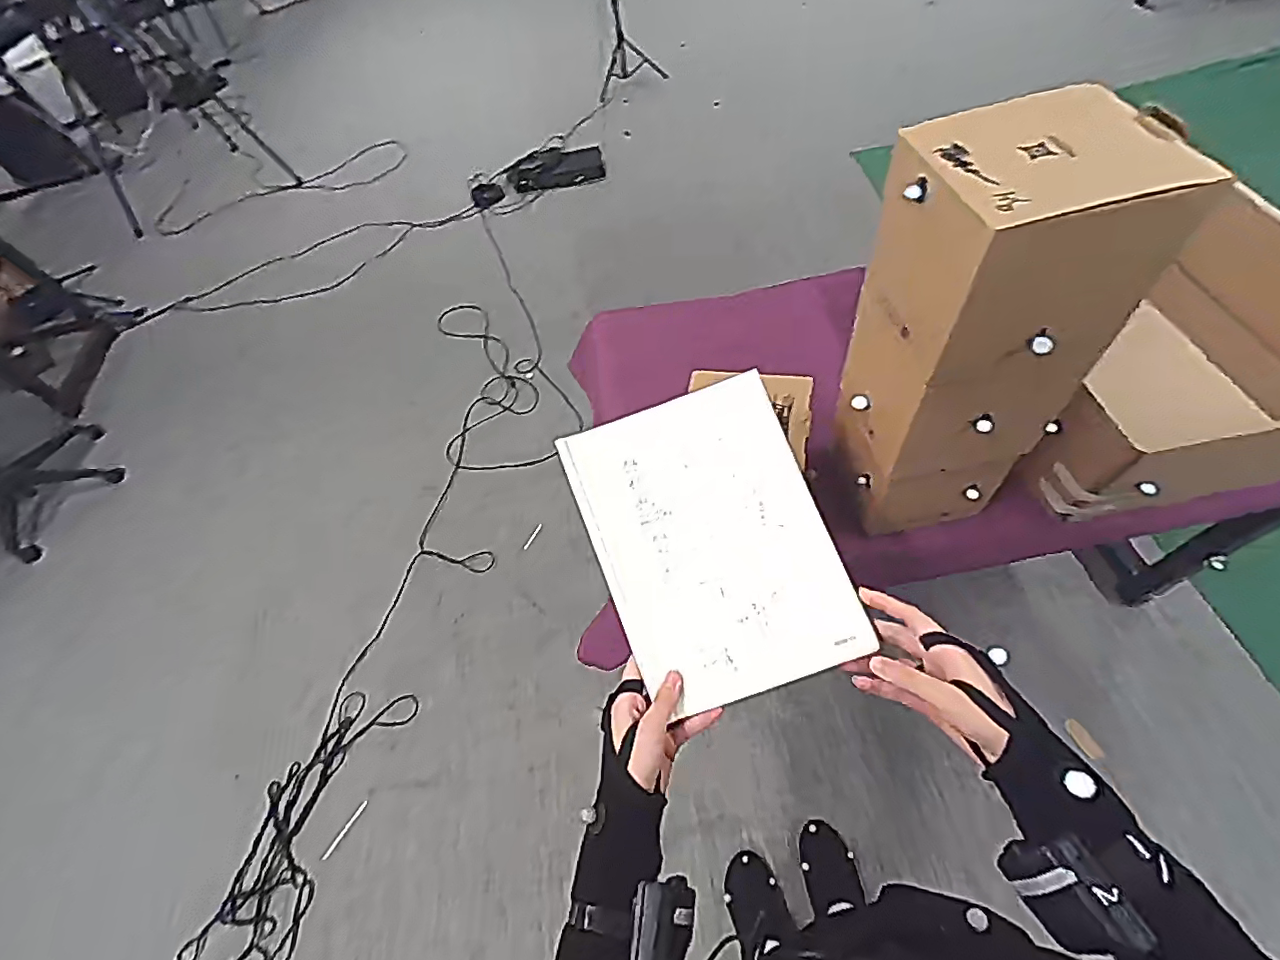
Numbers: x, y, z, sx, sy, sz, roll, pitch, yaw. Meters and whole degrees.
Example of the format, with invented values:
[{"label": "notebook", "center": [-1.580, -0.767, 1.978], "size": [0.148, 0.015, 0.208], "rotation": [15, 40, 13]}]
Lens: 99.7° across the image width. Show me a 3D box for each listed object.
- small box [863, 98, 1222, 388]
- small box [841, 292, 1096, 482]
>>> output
[{"label": "small box", "center": [0.334, -0.210, 0.499], "size": [0.179, 0.176, 0.168], "rotation": [-11, 54, 2]}, {"label": "small box", "center": [0.358, -0.119, 0.634], "size": [0.179, 0.176, 0.168], "rotation": [-12, 54, 3]}]
